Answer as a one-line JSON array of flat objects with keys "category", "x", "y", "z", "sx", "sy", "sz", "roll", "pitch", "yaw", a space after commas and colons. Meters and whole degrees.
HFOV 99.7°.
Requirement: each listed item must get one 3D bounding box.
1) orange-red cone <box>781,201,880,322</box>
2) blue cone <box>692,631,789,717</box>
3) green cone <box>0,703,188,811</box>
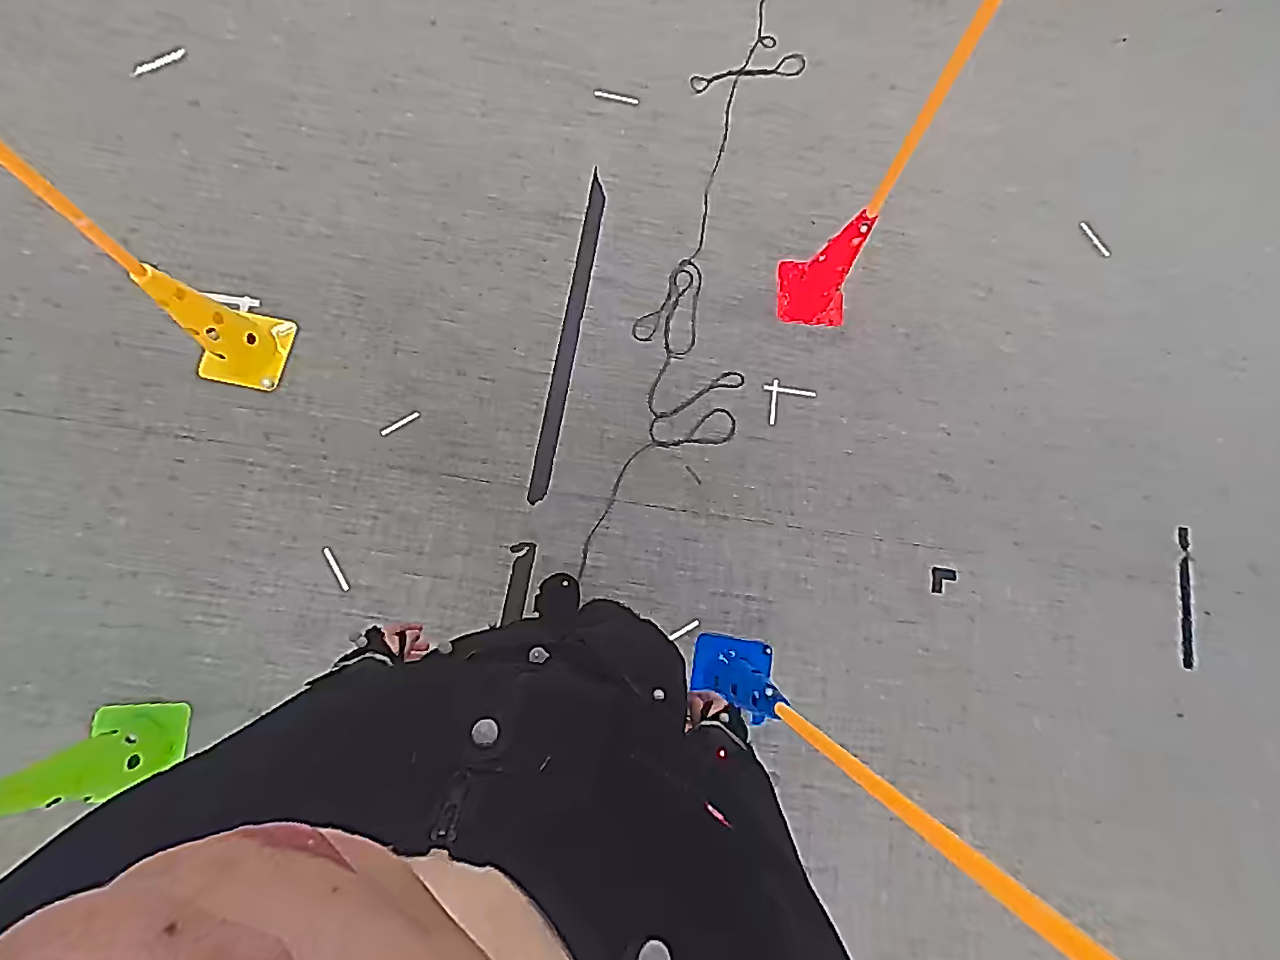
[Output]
[{"category": "orange-red cone", "x": 0.527, "y": -0.597, "z": 1.431, "sx": 0.199, "sy": 0.360, "sz": 0.198, "roll": 4, "pitch": 77, "yaw": -3}, {"category": "blue cone", "x": 0.246, "y": 0.453, "z": 1.200, "sx": 0.193, "sy": 0.380, "sz": 0.192, "roll": 12, "pitch": 77, "yaw": -3}, {"category": "green cone", "x": -1.104, "y": 0.564, "z": 1.032, "sx": 0.200, "sy": 0.368, "sz": 0.202, "roll": -1, "pitch": 77, "yaw": -6}]
